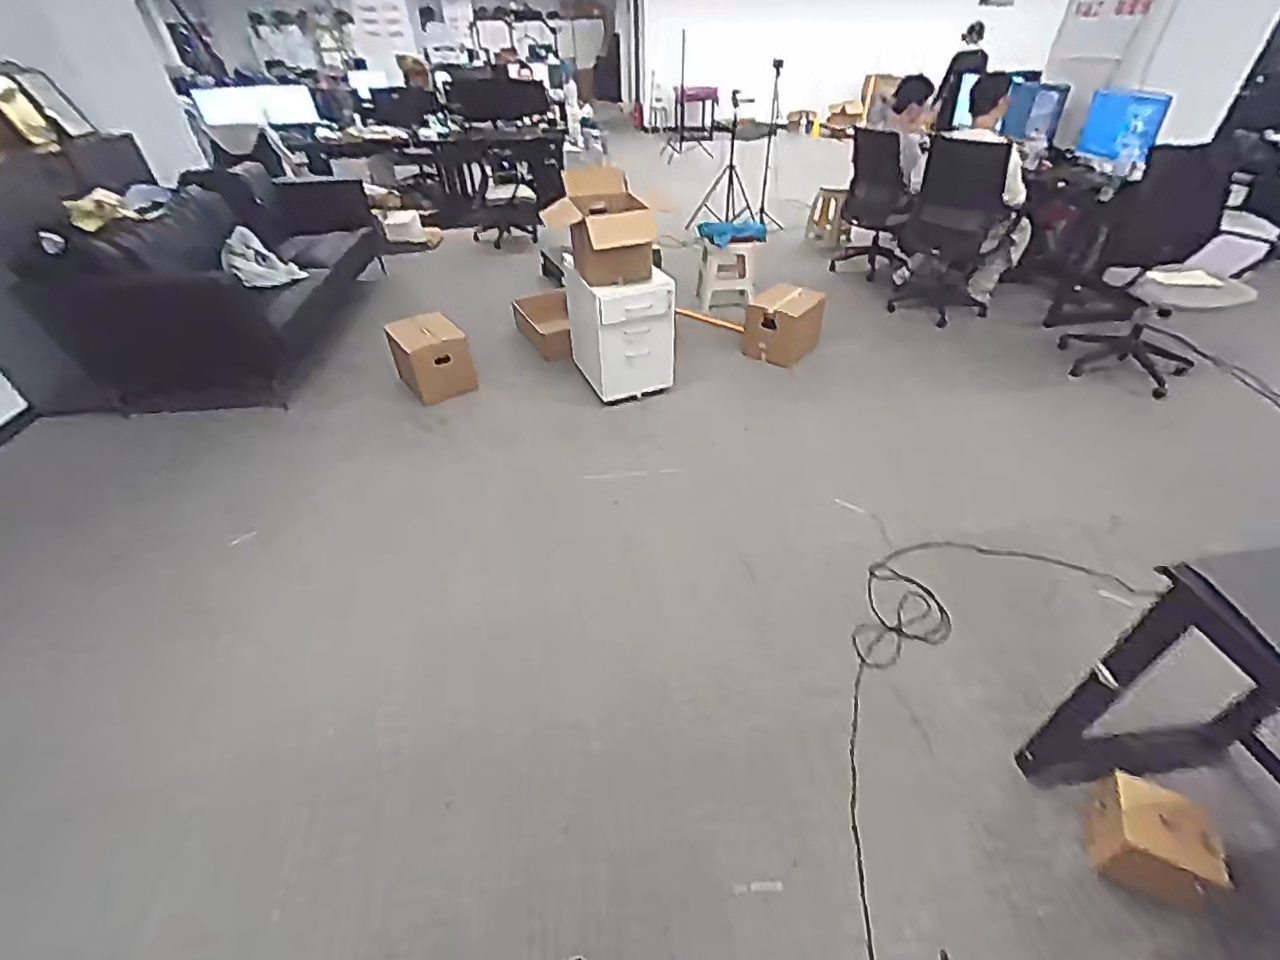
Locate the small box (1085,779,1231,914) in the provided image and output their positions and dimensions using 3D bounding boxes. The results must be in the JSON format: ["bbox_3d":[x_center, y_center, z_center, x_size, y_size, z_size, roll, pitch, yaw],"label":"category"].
[{"bbox_3d":[1.128,0.814,1.201,0.179,0.176,0.168,18,42,21],"label":"small box"}]
